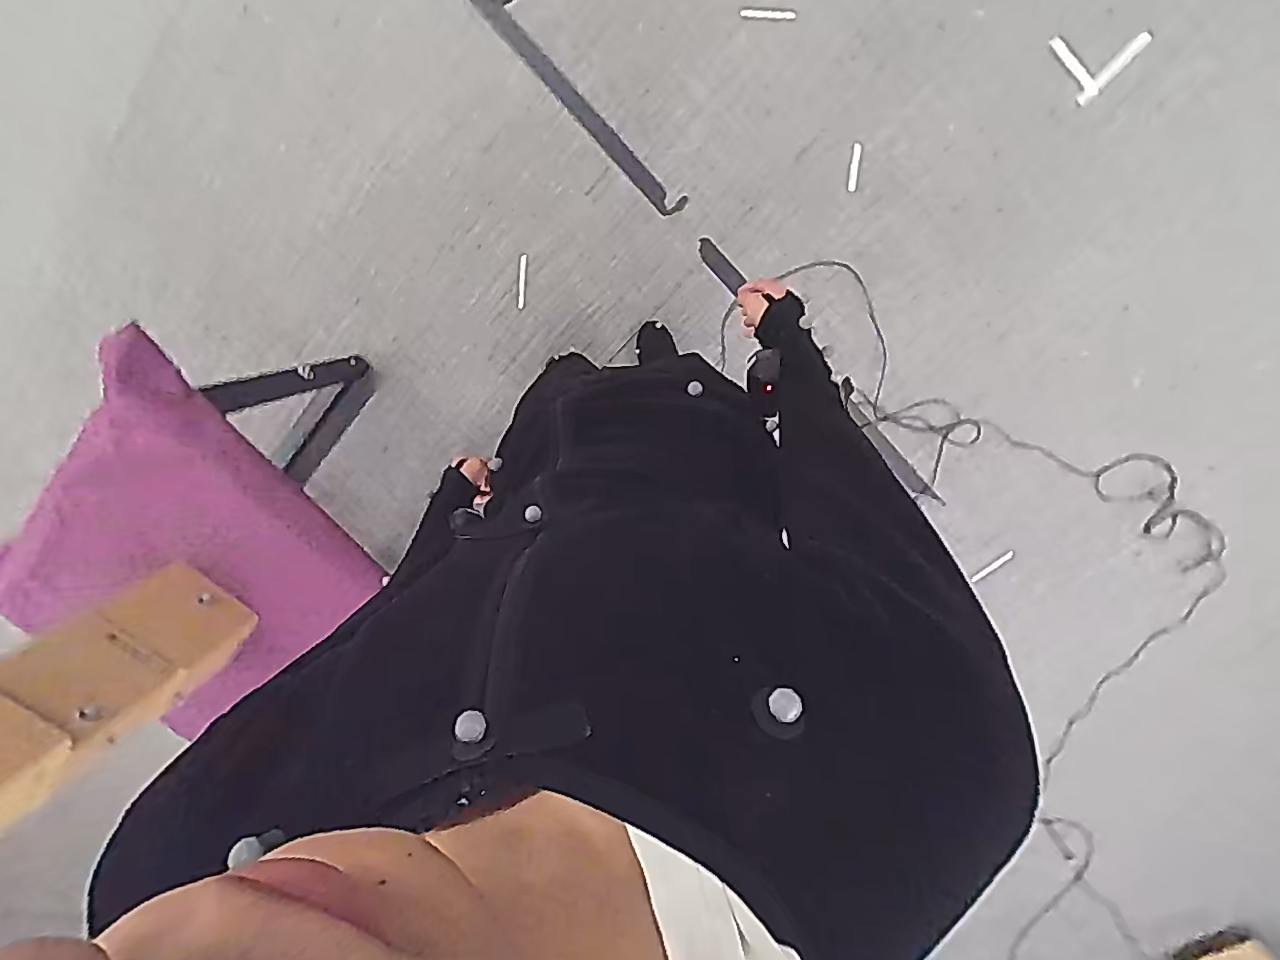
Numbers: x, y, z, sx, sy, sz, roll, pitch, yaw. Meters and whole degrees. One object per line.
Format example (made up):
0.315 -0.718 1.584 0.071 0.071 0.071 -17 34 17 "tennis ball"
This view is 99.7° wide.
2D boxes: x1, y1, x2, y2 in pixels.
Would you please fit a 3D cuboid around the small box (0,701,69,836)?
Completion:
-0.871 0.380 0.654 0.179 0.176 0.168 38 109 -8 "small box"

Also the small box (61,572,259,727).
-0.847 0.290 0.970 0.179 0.176 0.168 41 108 -9 "small box"
